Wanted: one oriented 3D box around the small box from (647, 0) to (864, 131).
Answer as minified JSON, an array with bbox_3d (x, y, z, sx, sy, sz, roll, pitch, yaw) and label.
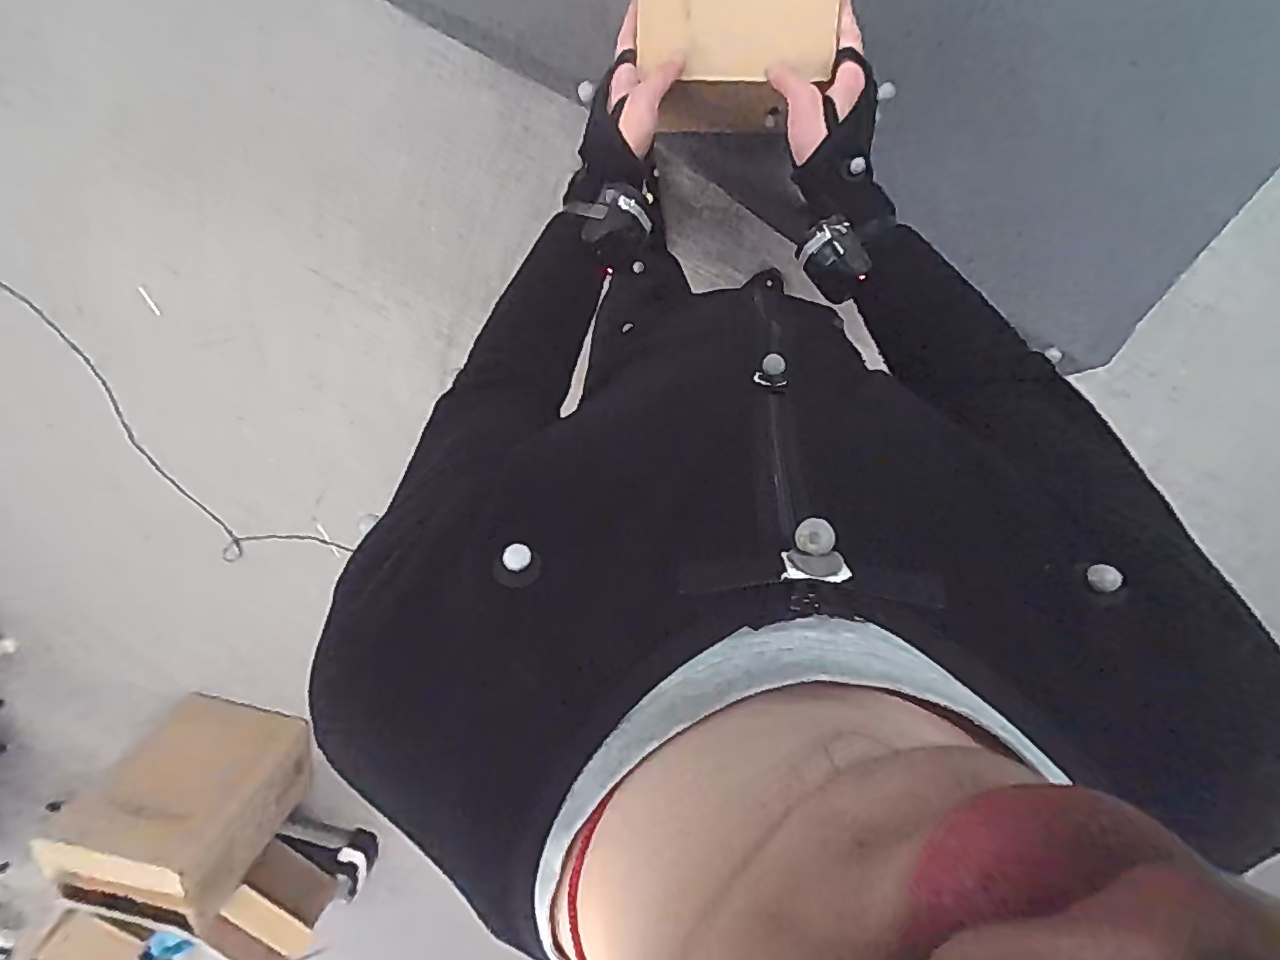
[{"bbox_3d":[0.101,-0.447,0.507,0.179,0.176,0.168,3,108,4],"label":"small box"}]
